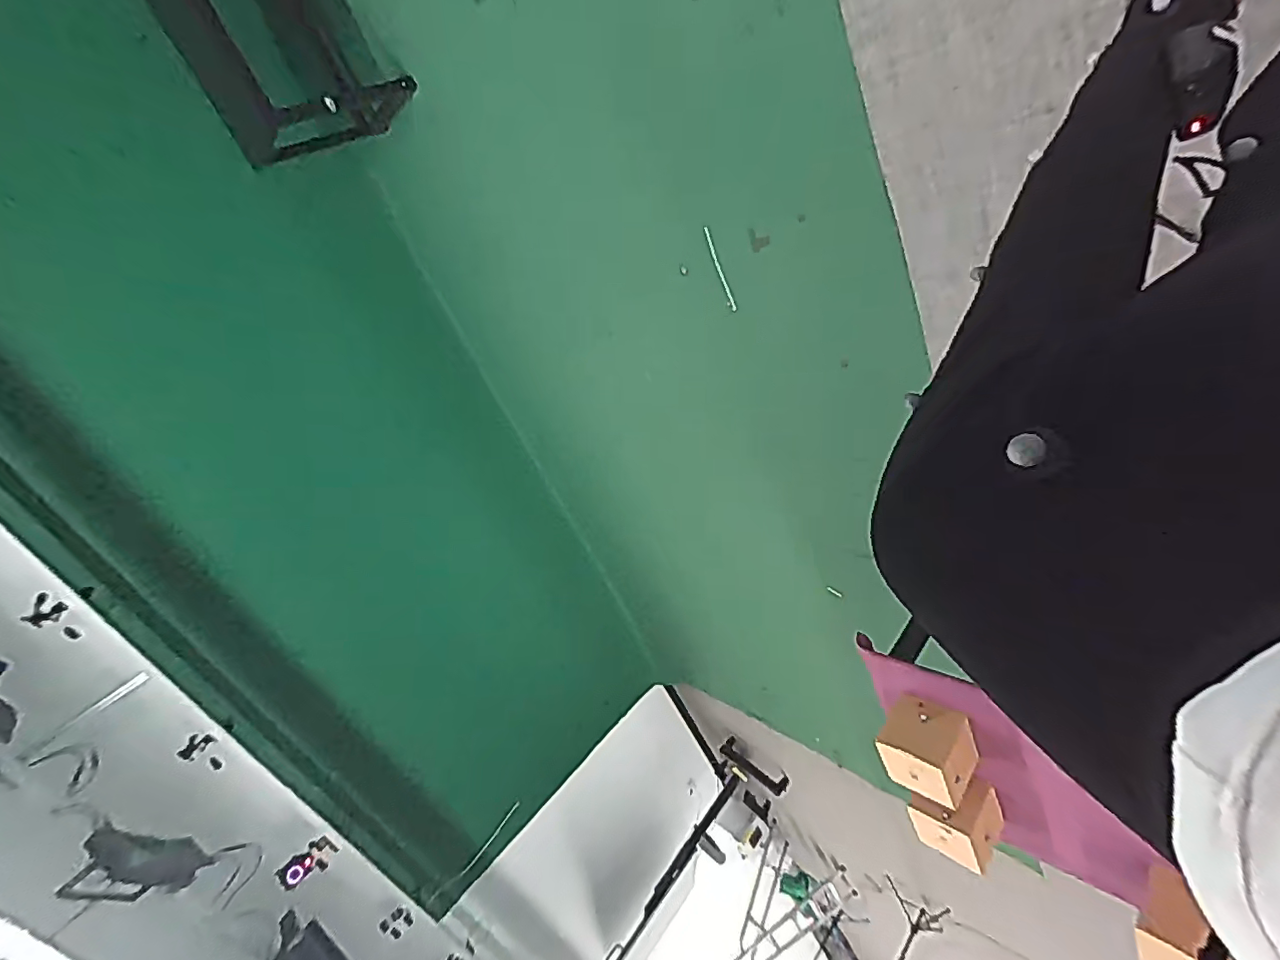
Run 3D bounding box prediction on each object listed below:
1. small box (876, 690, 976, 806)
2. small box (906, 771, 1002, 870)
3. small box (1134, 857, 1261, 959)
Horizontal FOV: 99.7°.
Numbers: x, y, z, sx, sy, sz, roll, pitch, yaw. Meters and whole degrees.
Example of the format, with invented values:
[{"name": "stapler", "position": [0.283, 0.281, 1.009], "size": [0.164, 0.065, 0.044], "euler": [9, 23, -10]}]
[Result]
[{"name": "small box", "position": [0.749, 0.690, 1.408], "size": [0.168, 0.176, 0.179], "euler": [5, 129, 51]}, {"name": "small box", "position": [0.877, 0.917, 1.502], "size": [0.168, 0.176, 0.179], "euler": [3, 127, 53]}, {"name": "small box", "position": [1.167, 0.950, 1.131], "size": [0.168, 0.176, 0.179], "euler": [5, 127, 52]}]
